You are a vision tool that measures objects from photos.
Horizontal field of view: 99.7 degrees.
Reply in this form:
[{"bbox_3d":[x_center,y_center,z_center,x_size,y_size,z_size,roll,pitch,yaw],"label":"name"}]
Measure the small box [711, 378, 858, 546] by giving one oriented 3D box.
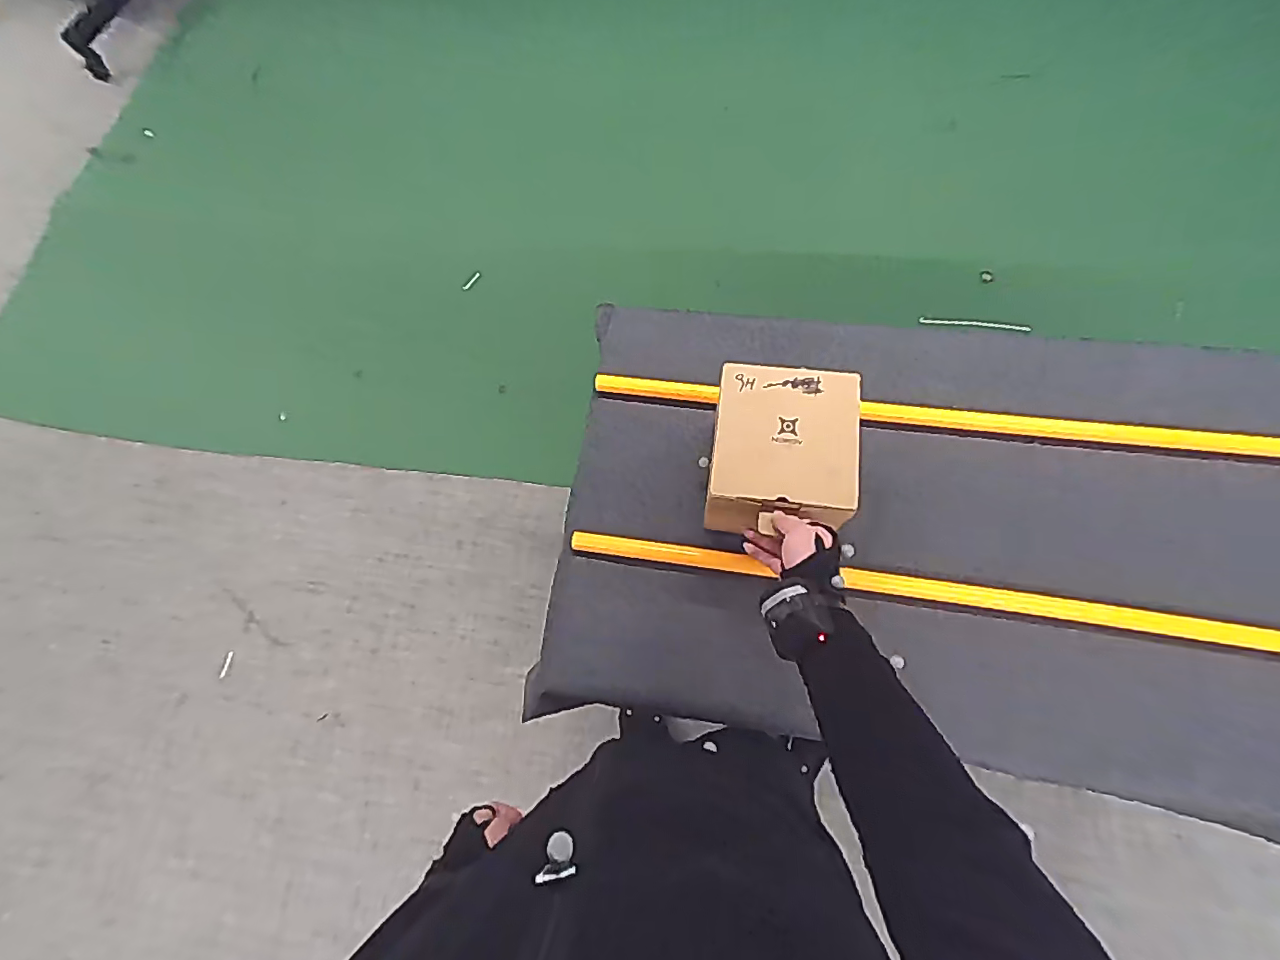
[{"bbox_3d":[0.182,-0.016,0.714,0.168,0.176,0.179,3,71,8],"label":"small box"}]
